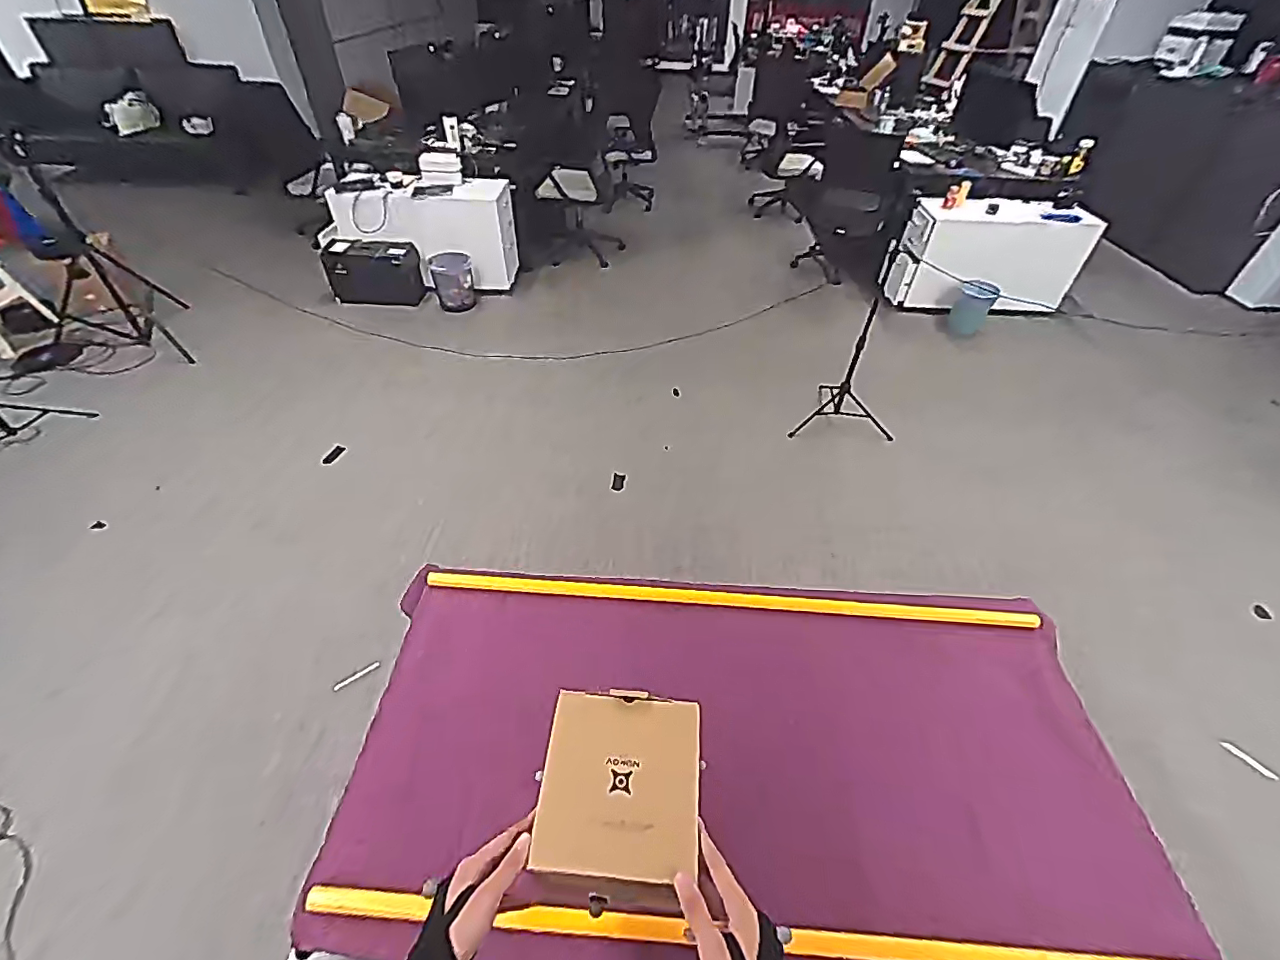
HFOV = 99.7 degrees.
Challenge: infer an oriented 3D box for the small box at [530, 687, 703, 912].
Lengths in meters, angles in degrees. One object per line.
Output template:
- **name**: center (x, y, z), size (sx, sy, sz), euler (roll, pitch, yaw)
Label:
- **small box**: center (-0.018, 0.366, 0.622), size (0.168, 0.176, 0.179), euler (4, 45, 3)
